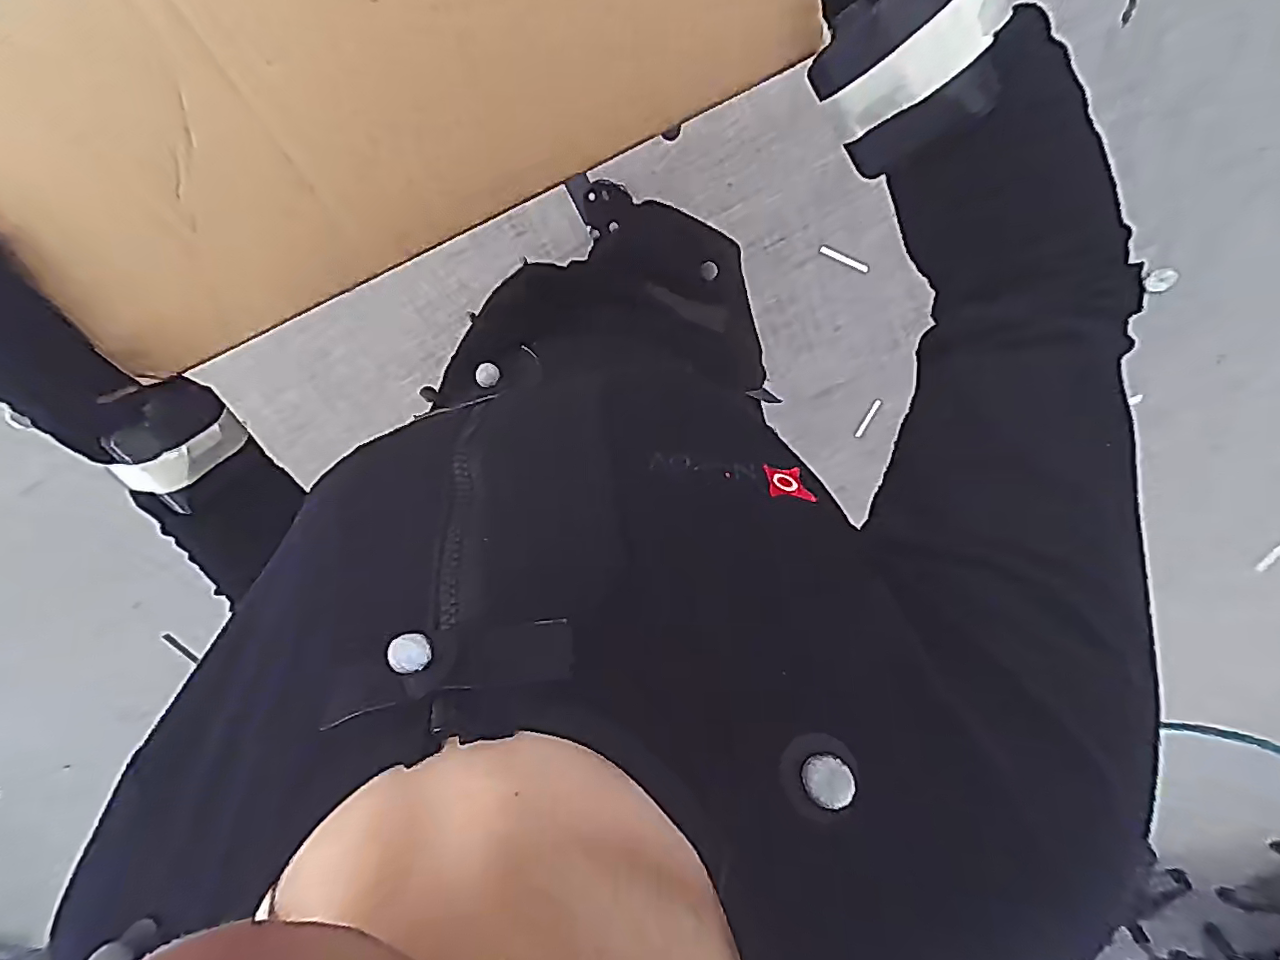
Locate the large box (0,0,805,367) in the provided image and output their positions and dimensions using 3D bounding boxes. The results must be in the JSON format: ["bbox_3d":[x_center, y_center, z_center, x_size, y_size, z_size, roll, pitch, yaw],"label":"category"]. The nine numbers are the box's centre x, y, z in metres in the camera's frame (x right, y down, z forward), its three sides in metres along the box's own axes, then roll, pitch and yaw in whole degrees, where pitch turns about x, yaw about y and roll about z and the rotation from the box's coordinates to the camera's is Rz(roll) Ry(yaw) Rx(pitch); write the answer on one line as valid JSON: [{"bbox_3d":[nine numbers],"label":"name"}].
[{"bbox_3d":[-0.176,-0.335,0.294,0.408,0.320,0.320,-20,131,11],"label":"large box"}]
